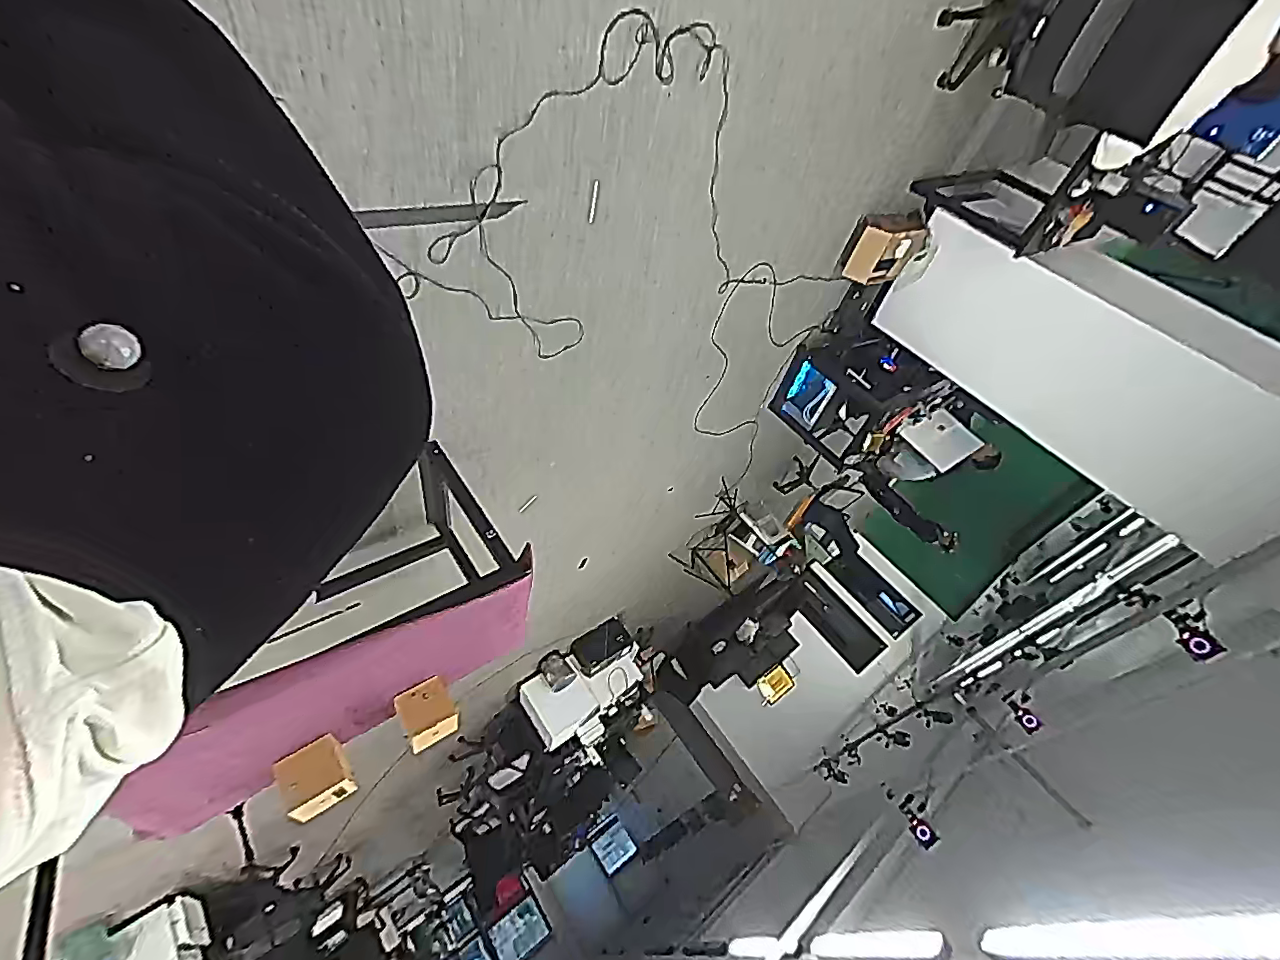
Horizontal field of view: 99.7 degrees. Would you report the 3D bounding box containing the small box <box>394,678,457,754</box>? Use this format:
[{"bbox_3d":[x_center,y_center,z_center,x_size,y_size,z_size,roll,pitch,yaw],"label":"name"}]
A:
[{"bbox_3d":[-0.786,0.861,1.983,0.168,0.176,0.179,-22,148,-34],"label":"small box"}]
